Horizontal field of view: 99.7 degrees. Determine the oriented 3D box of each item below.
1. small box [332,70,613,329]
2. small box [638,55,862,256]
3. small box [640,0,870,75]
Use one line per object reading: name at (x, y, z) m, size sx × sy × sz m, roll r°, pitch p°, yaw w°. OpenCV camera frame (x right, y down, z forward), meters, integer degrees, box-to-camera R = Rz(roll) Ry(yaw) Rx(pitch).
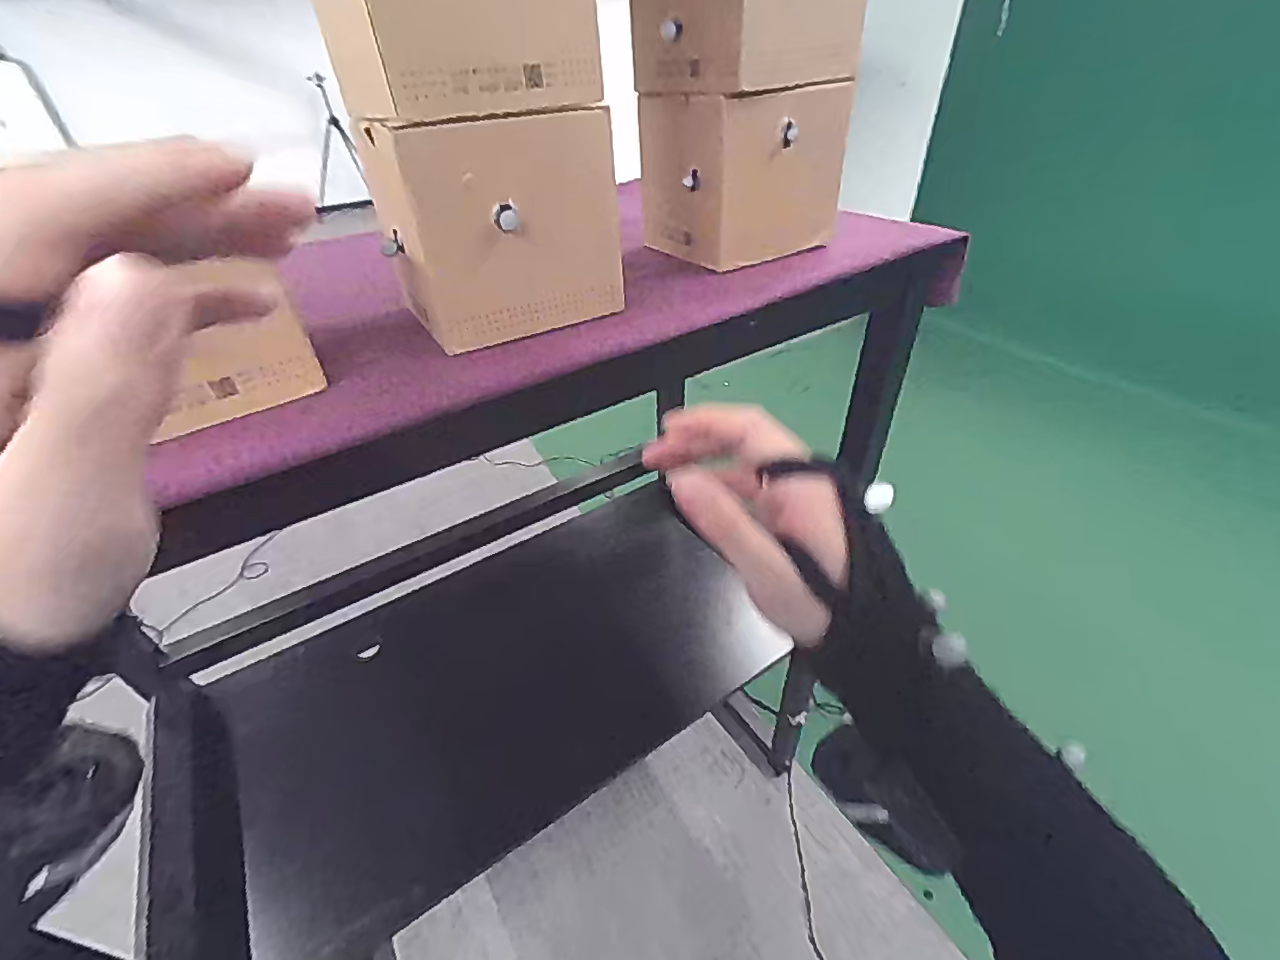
small box at (-0.138, -0.250, 0.477) m, size 0.179 × 0.176 × 0.168 m, roll -22°, pitch 43°, yaw -22°
small box at (0.115, -0.367, 0.612) m, size 0.179 × 0.176 × 0.168 m, roll -21°, pitch 42°, yaw -21°
small box at (0.109, -0.492, 0.507) m, size 0.179 × 0.176 × 0.168 m, roll -27°, pitch 45°, yaw -24°
